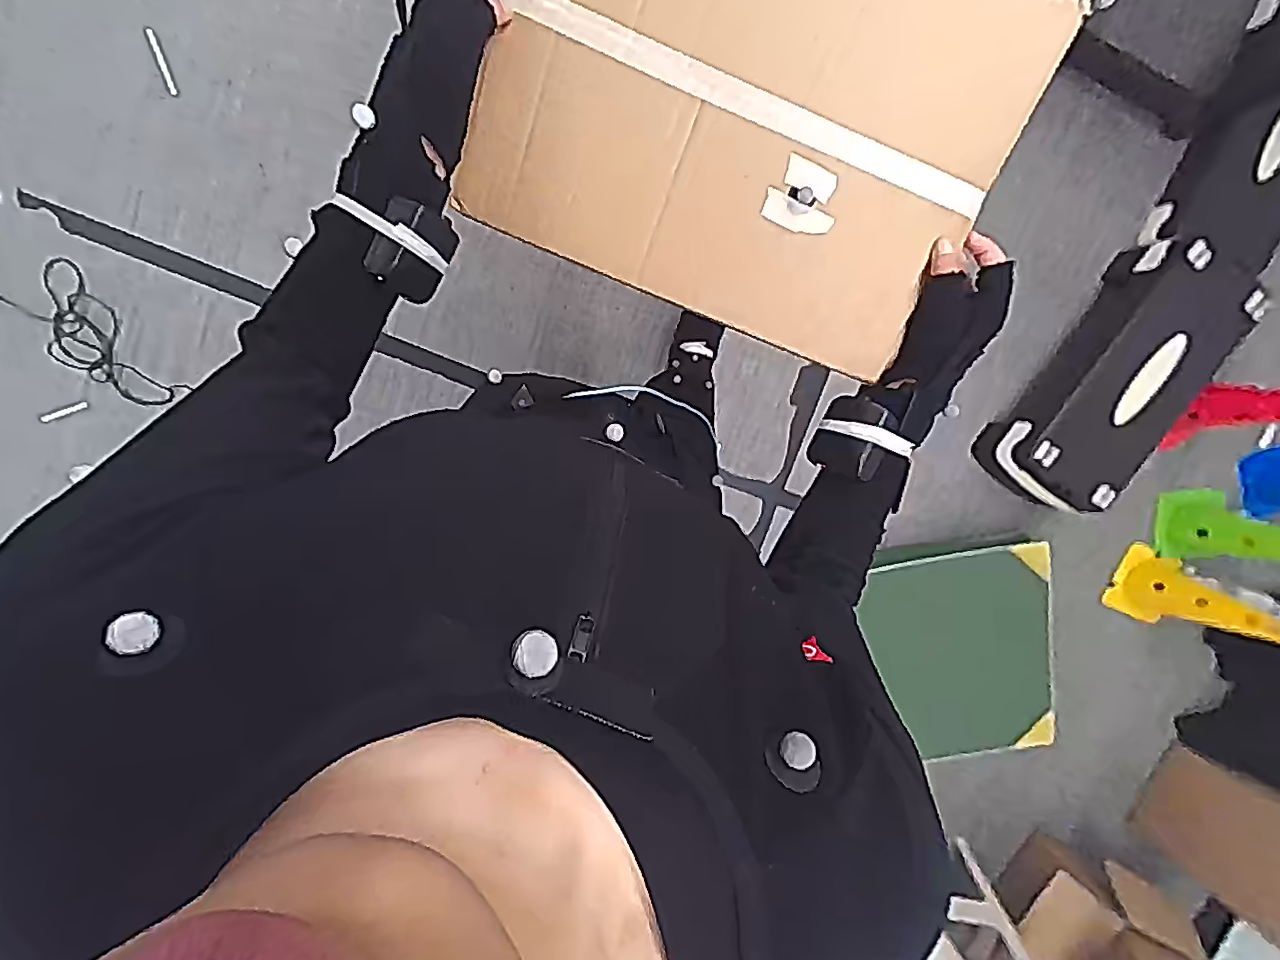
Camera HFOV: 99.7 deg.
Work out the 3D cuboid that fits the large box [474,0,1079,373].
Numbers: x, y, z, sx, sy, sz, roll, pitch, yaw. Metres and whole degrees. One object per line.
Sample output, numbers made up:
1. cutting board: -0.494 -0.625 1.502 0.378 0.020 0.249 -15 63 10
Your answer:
1. large box: 0.095 -0.347 0.572 0.408 0.320 0.320 21 110 -7
